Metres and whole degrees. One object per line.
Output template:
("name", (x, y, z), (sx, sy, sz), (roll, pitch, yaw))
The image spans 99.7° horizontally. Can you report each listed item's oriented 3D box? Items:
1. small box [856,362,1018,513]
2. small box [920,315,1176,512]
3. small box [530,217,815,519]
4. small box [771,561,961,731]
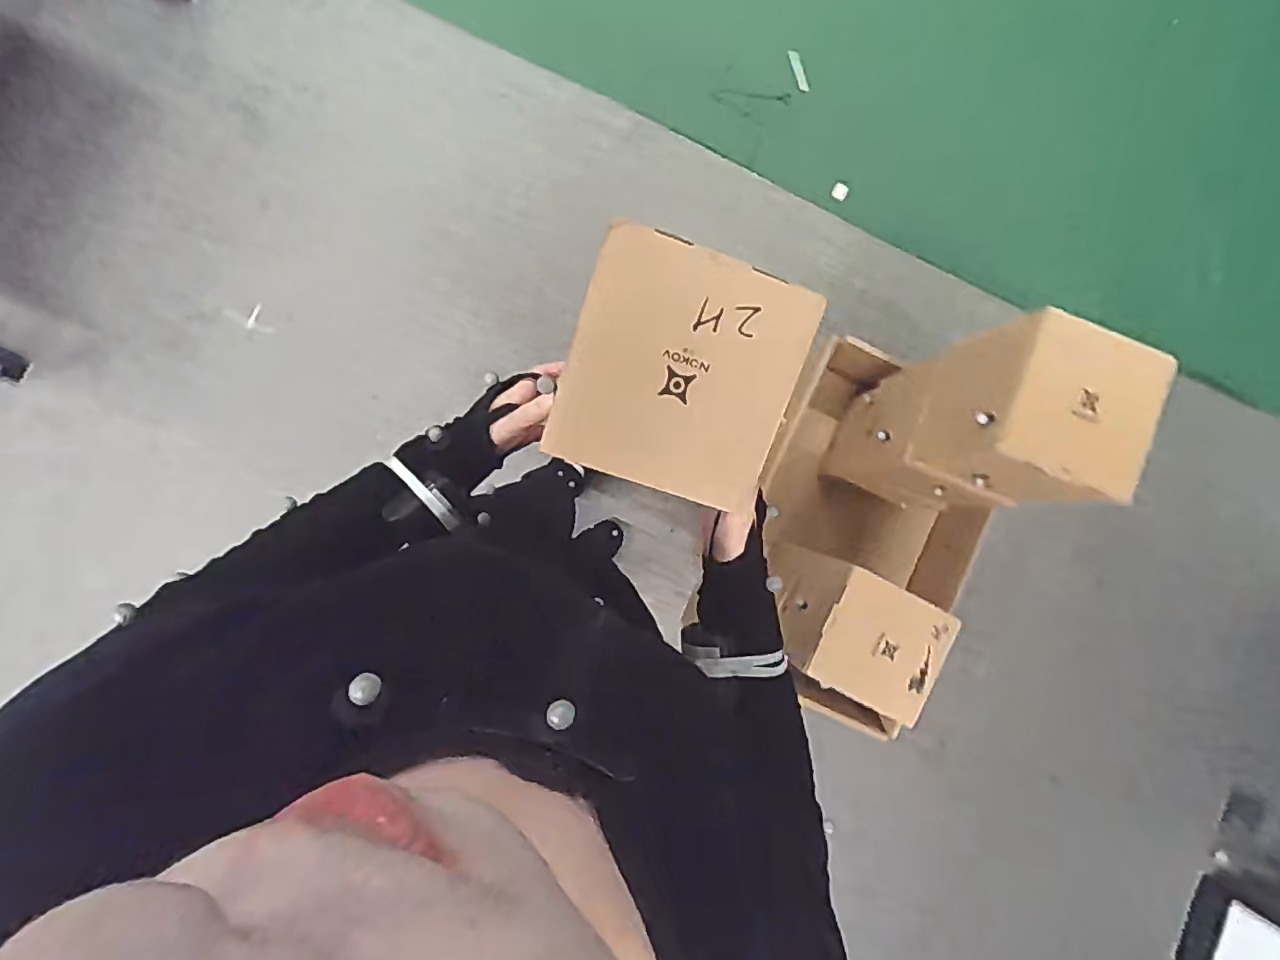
("small box", (0.469, -0.057, 0.835), (0.179, 0.176, 0.168), (23, 88, -4))
("small box", (0.488, -0.072, 0.674), (0.168, 0.176, 0.179), (21, 88, -4))
("small box", (0.017, -0.091, 0.468), (0.168, 0.176, 0.179), (18, 100, -9))
("small box", (0.325, 0.234, 0.816), (0.179, 0.176, 0.168), (29, 87, -3))
